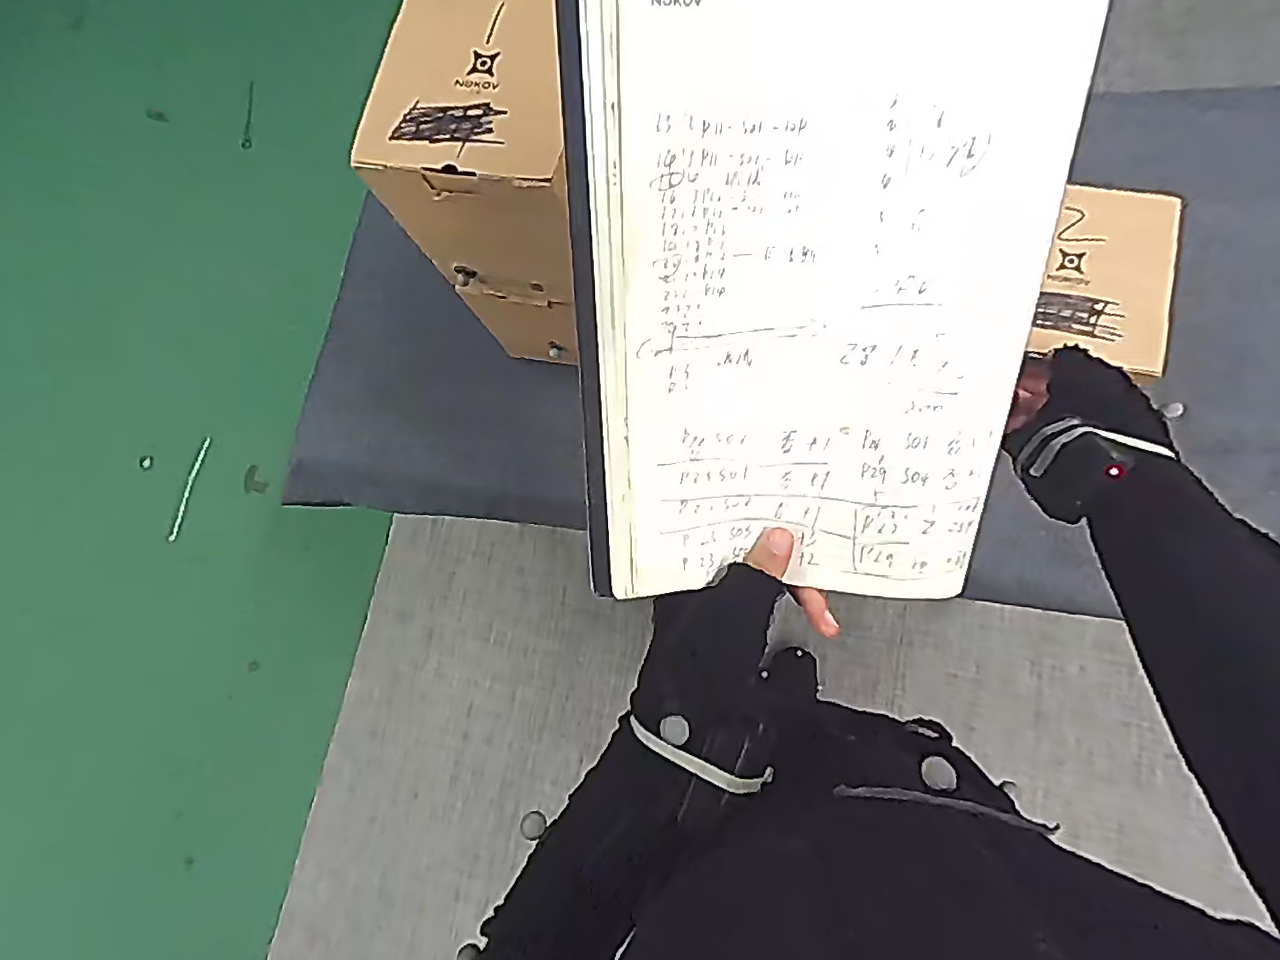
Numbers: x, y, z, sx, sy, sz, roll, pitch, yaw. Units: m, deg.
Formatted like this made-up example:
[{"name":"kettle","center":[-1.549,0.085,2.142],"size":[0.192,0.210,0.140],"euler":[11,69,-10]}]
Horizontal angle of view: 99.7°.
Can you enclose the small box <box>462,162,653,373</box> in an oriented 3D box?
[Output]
[{"name":"small box","center":[-0.082,-0.250,0.646],"size":[0.168,0.176,0.179],"euler":[10,79,10]}]

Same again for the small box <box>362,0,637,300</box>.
[{"name":"small box","center":[-0.105,-0.287,0.488],"size":[0.168,0.176,0.179],"euler":[11,79,9]}]
